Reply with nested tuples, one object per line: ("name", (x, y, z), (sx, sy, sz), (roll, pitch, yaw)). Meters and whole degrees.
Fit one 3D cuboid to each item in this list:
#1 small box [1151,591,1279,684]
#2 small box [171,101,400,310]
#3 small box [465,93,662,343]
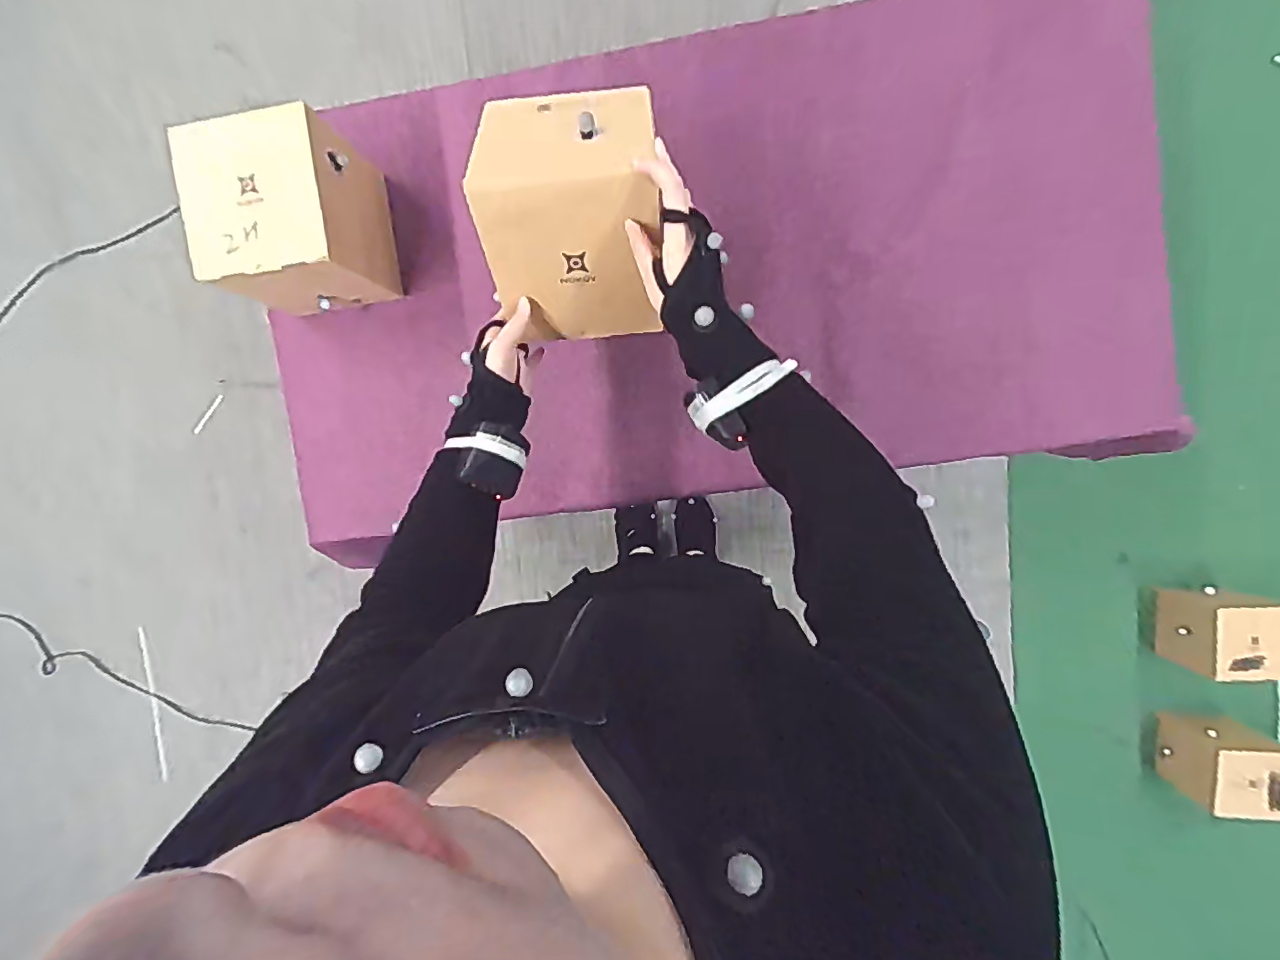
("small box", (1.410, 0.381, 1.326), (0.168, 0.176, 0.179), (-2, 93, 5))
("small box", (-0.434, -0.333, 0.690), (0.168, 0.176, 0.179), (-7, 94, 5))
("small box", (-0.067, -0.269, 0.557), (0.168, 0.179, 0.176), (-4, 58, 2))
